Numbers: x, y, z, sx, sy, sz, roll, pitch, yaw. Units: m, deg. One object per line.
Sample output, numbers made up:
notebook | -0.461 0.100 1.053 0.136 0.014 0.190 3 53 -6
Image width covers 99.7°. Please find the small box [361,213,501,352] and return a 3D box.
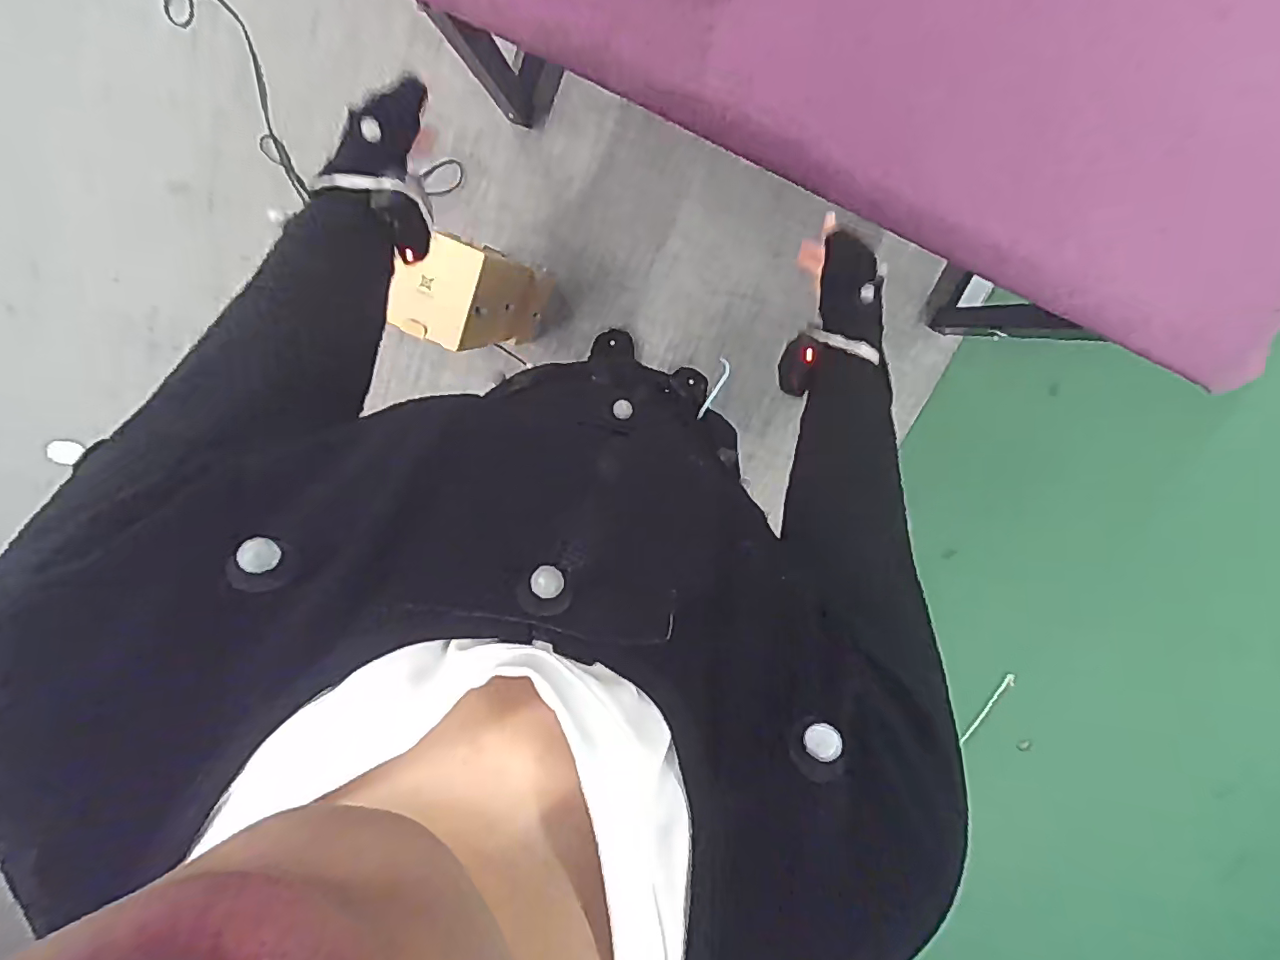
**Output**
small box | -0.370 -0.355 0.987 0.168 0.176 0.179 23 108 -5
